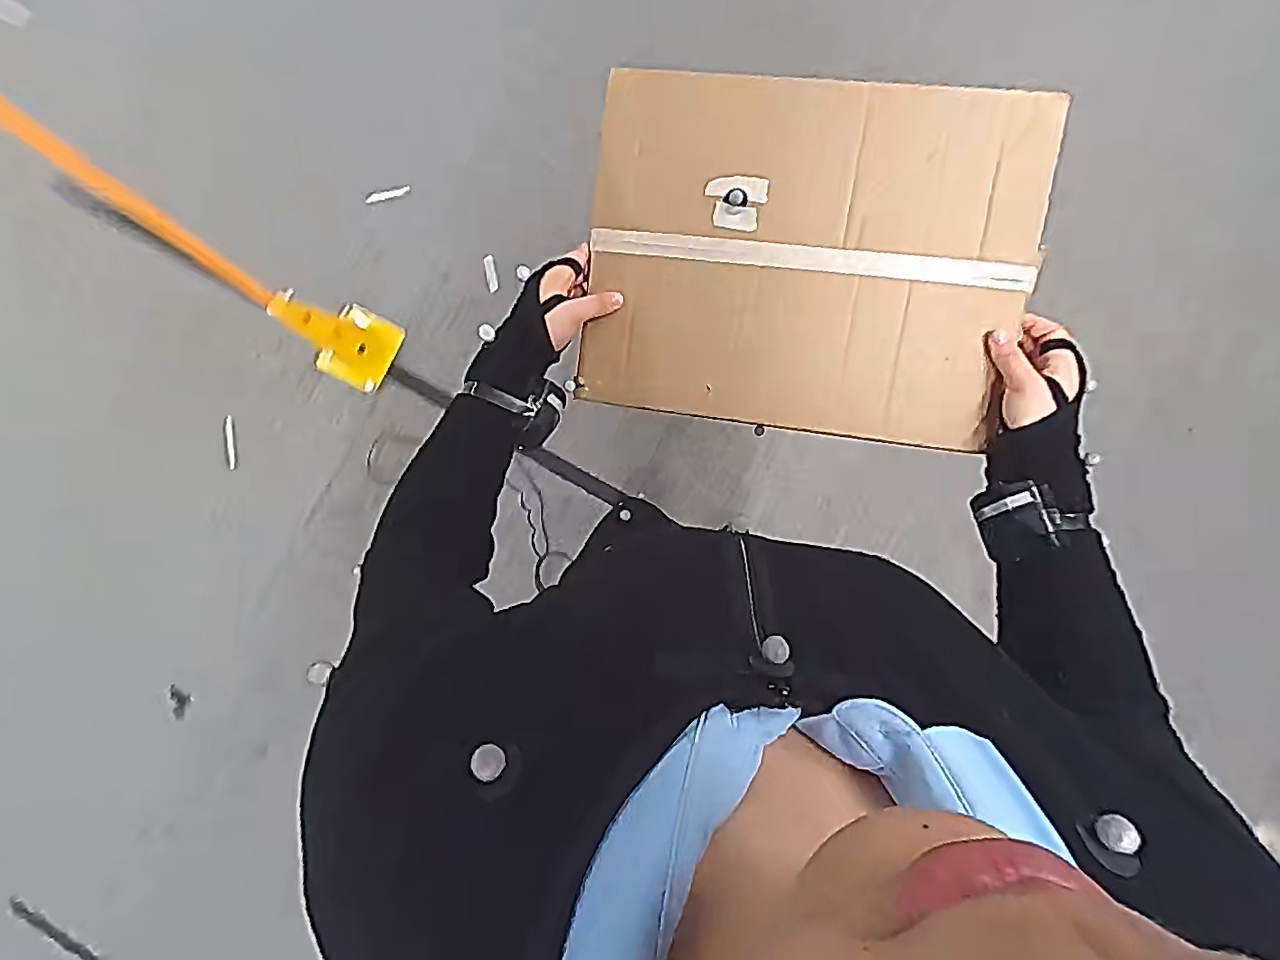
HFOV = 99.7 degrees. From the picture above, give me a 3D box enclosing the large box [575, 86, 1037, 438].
[{"bbox_3d":[0.165,-0.231,0.665,0.408,0.320,0.320,7,97,8],"label":"large box"}]
